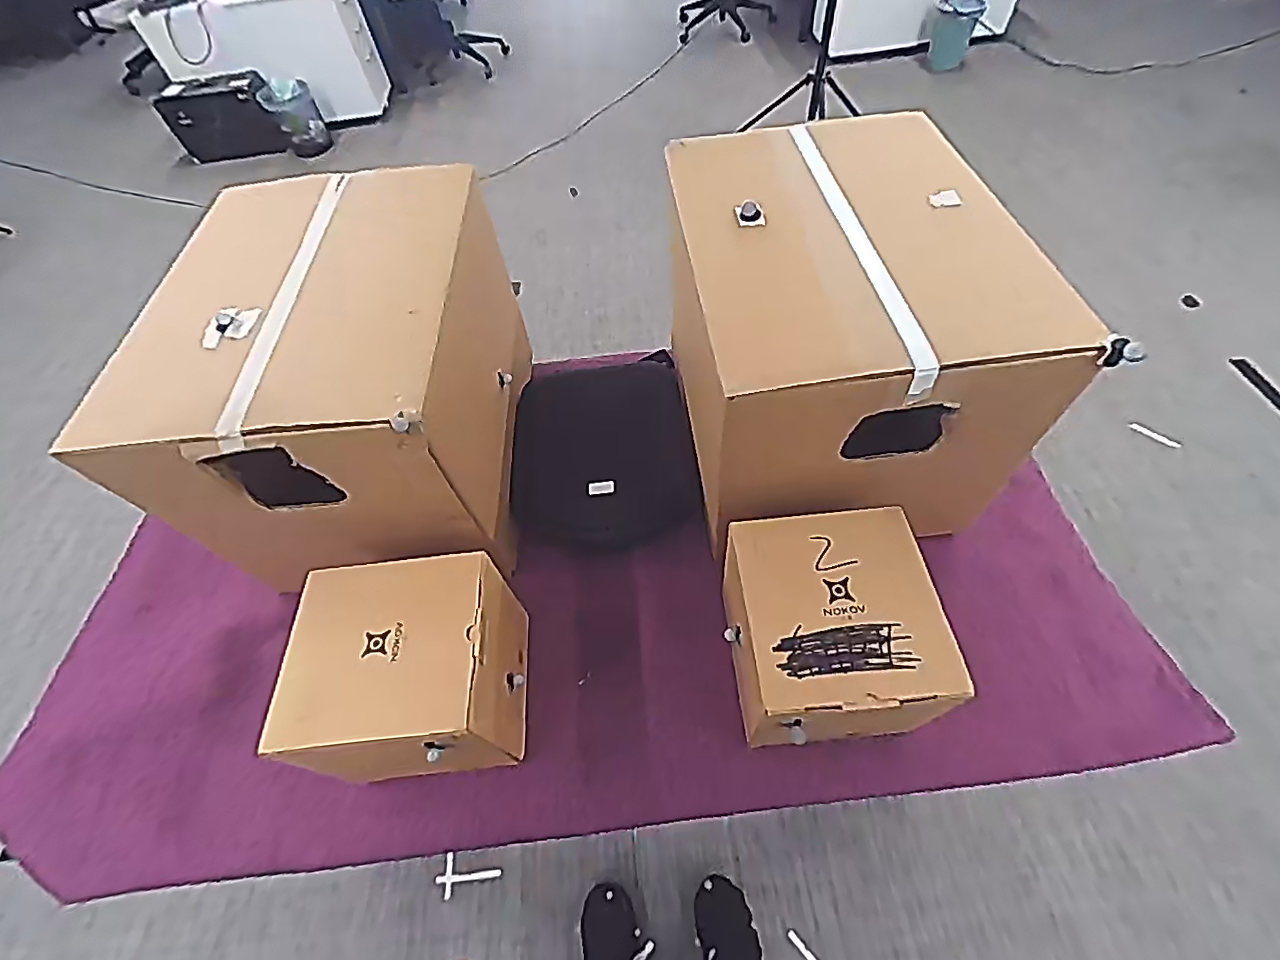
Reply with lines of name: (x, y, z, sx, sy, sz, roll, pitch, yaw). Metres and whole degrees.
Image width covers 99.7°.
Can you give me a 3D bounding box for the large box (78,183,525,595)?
large box: (-0.335, -0.105, 0.686, 0.320, 0.320, 0.408, -6, 58, 2)
